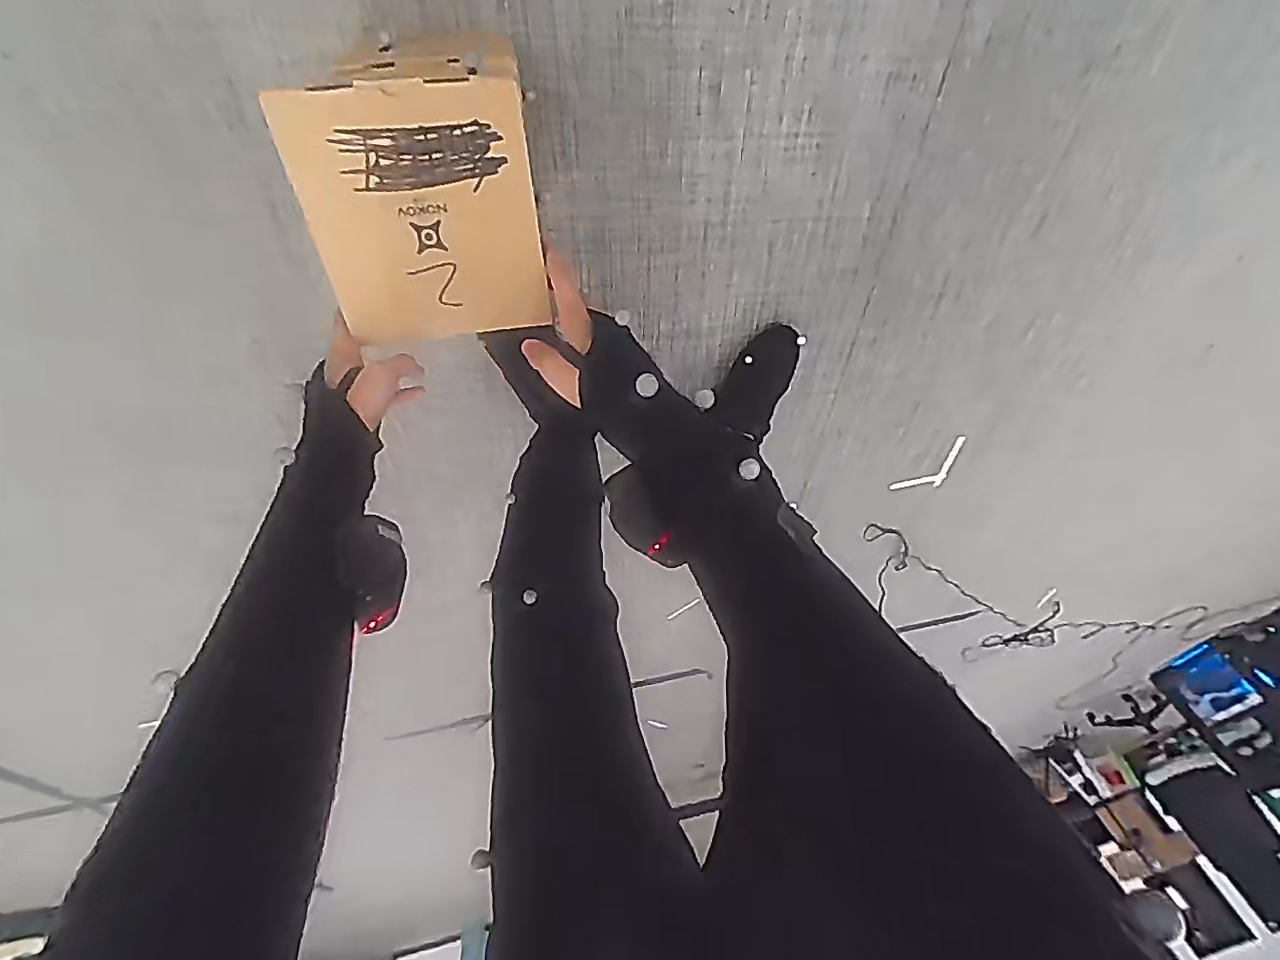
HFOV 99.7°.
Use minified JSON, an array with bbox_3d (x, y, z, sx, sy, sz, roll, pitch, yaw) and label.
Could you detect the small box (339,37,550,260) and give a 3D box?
[{"bbox_3d":[-0.198,-0.367,0.592,0.168,0.176,0.179,-9,136,-7],"label":"small box"}]
